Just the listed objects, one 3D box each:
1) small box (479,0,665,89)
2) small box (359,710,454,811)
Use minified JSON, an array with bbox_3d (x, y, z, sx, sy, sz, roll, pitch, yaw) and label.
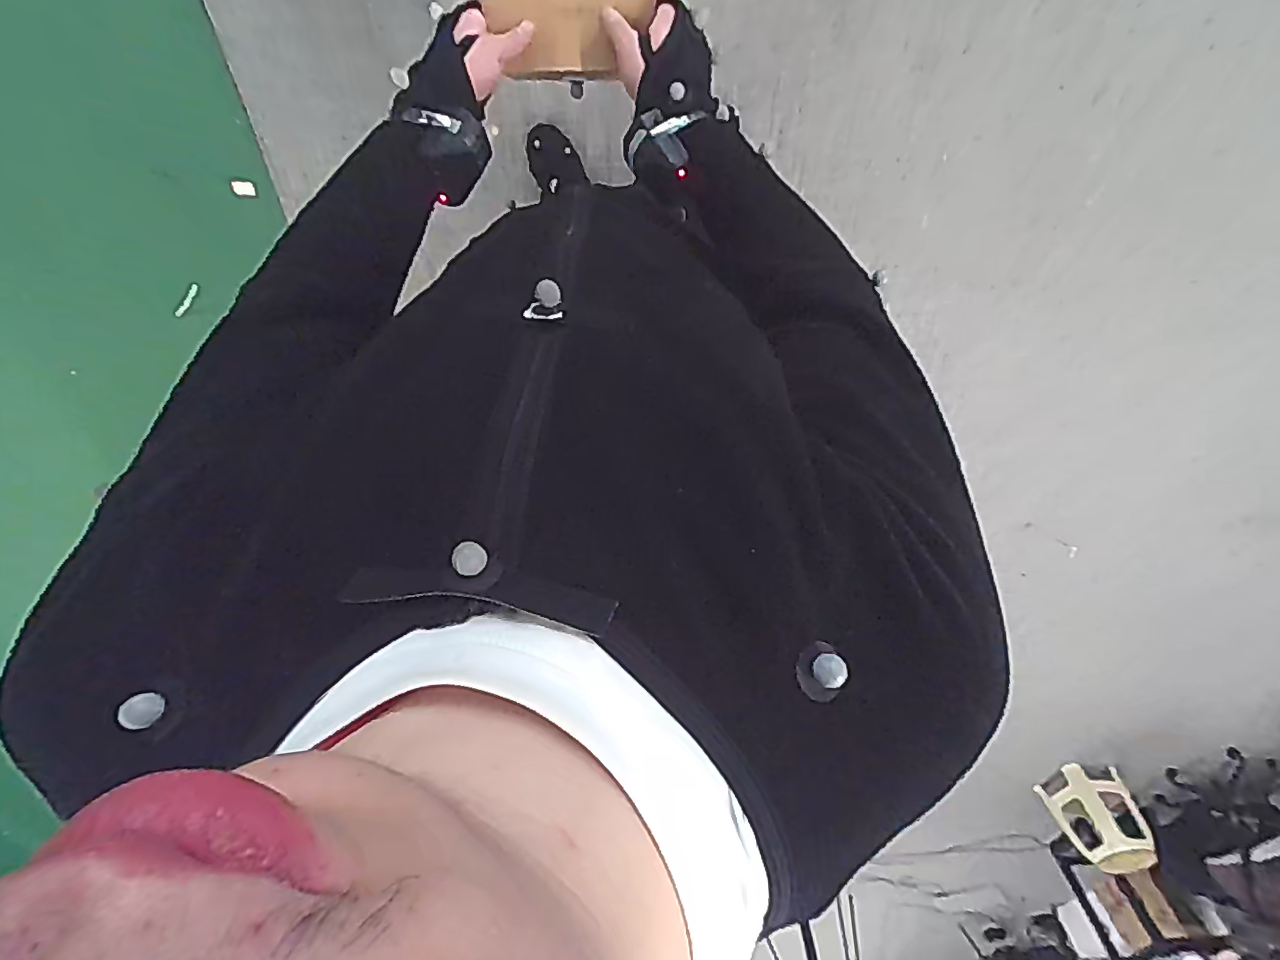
[{"bbox_3d":[-0.058,-0.492,0.521,0.168,0.176,0.179,2,124,0],"label":"small box"},{"bbox_3d":[-0.566,0.689,1.334,0.168,0.176,0.179,4,126,-5],"label":"small box"}]
